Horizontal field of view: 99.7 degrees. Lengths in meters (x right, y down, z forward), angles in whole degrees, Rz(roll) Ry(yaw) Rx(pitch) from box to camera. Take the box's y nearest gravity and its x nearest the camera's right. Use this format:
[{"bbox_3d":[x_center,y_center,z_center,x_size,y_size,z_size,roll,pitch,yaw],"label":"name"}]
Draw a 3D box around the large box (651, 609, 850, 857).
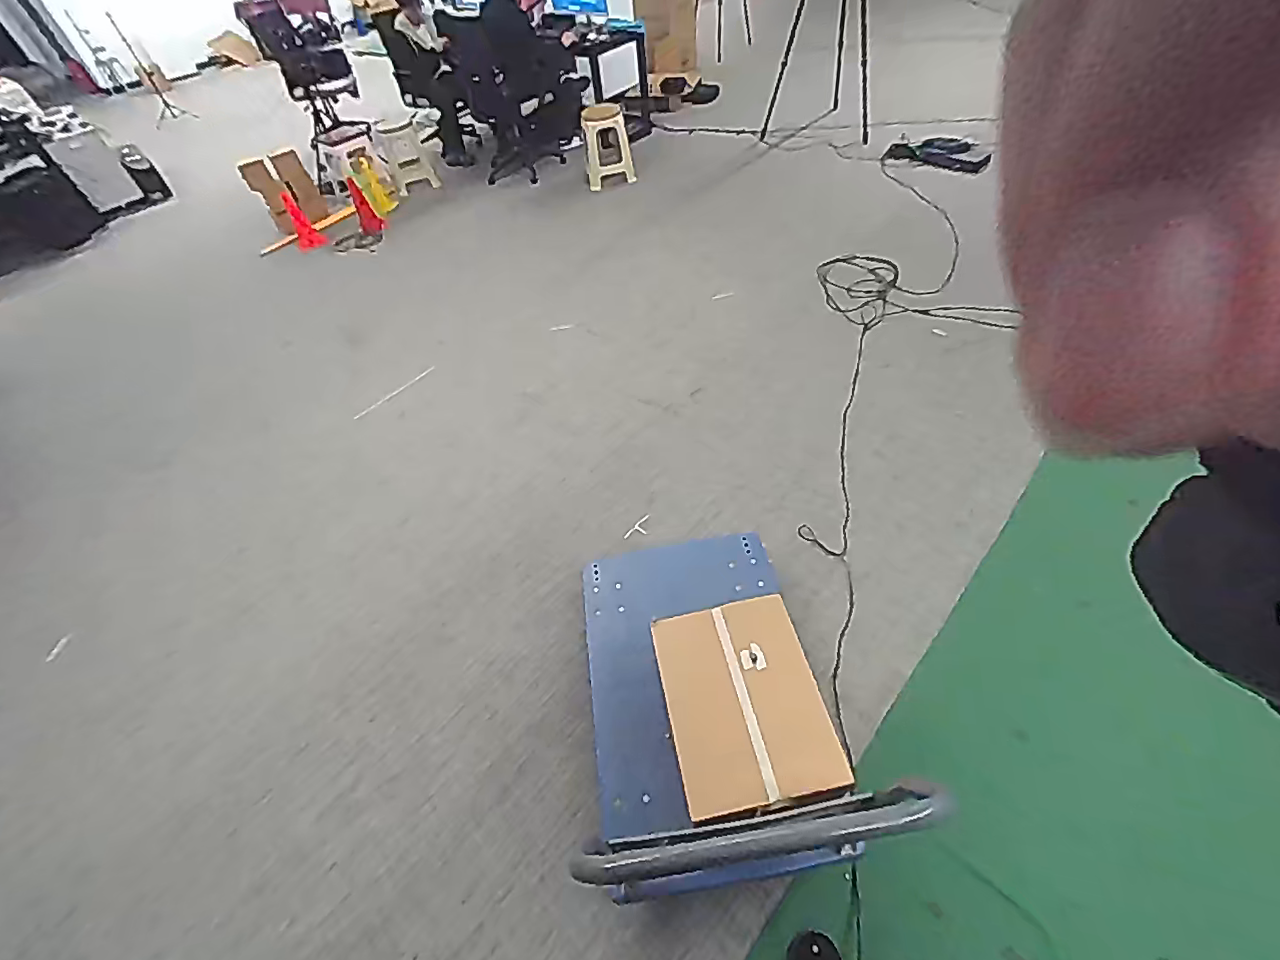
[{"bbox_3d":[0.228,0.574,1.241,0.320,0.320,0.408,-11,48,-3],"label":"large box"}]
